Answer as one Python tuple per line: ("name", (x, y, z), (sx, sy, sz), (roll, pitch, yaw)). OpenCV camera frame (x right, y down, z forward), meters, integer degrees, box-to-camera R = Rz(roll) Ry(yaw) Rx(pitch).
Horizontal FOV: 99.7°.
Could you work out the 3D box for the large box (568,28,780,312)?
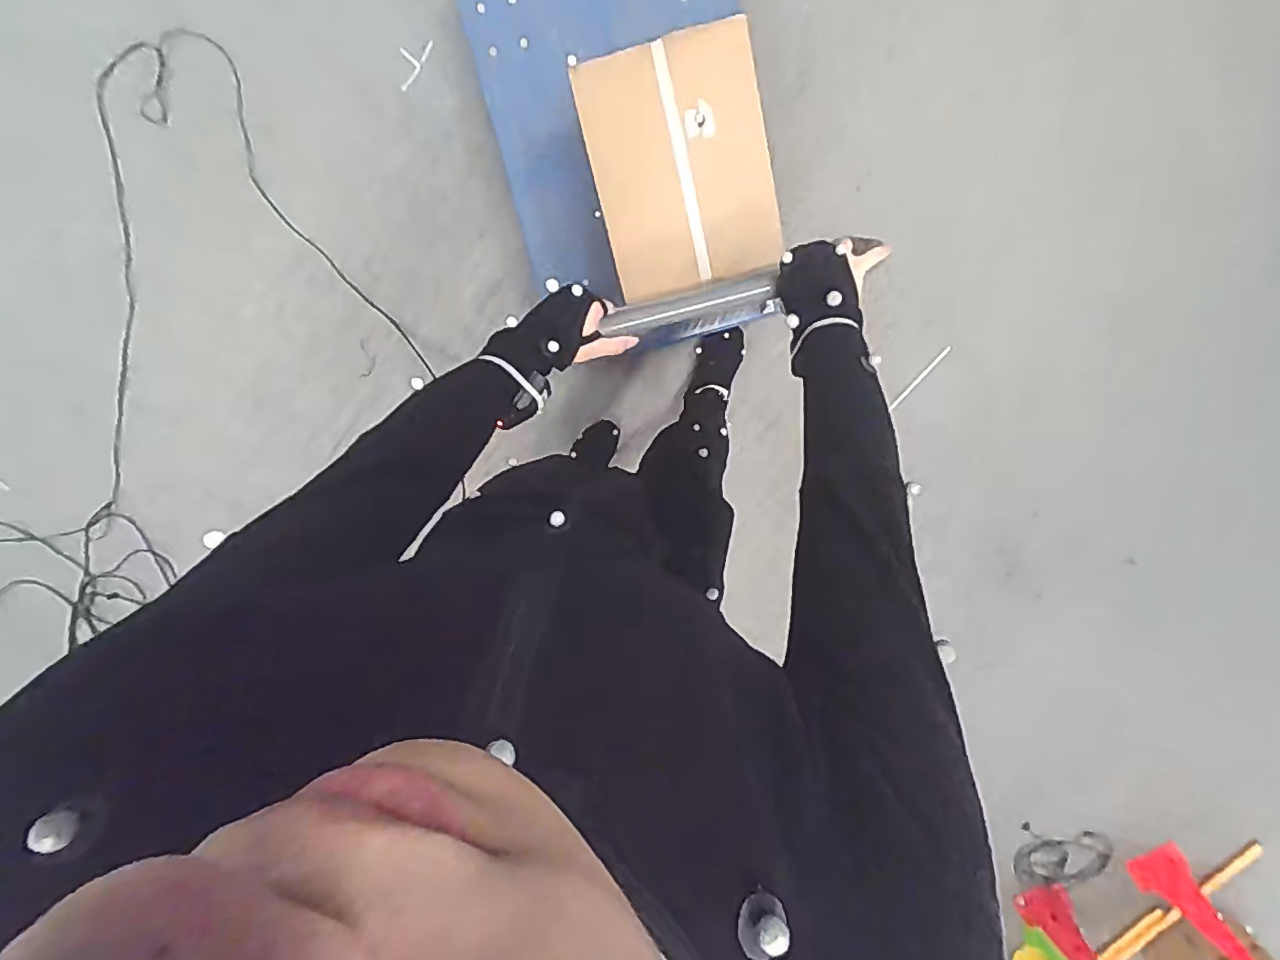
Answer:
("large box", (0.072, -0.597, 1.133), (0.320, 0.320, 0.408), (-14, 105, 3))
